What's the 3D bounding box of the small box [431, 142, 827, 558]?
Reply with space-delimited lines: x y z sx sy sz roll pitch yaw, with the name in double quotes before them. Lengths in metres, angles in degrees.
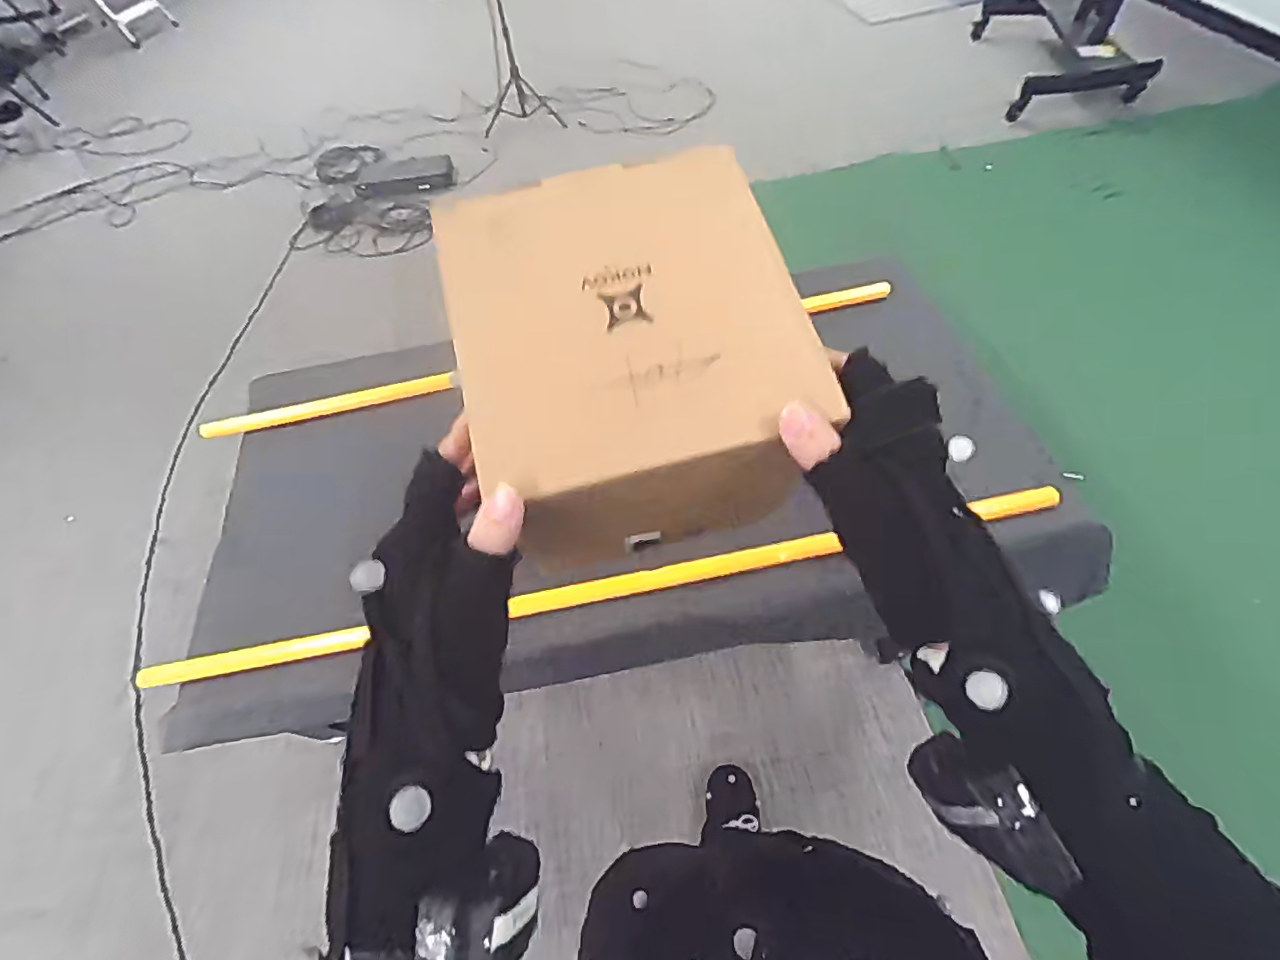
"small box" -0.014 -0.066 0.343 0.168 0.176 0.179 -14 71 -5
